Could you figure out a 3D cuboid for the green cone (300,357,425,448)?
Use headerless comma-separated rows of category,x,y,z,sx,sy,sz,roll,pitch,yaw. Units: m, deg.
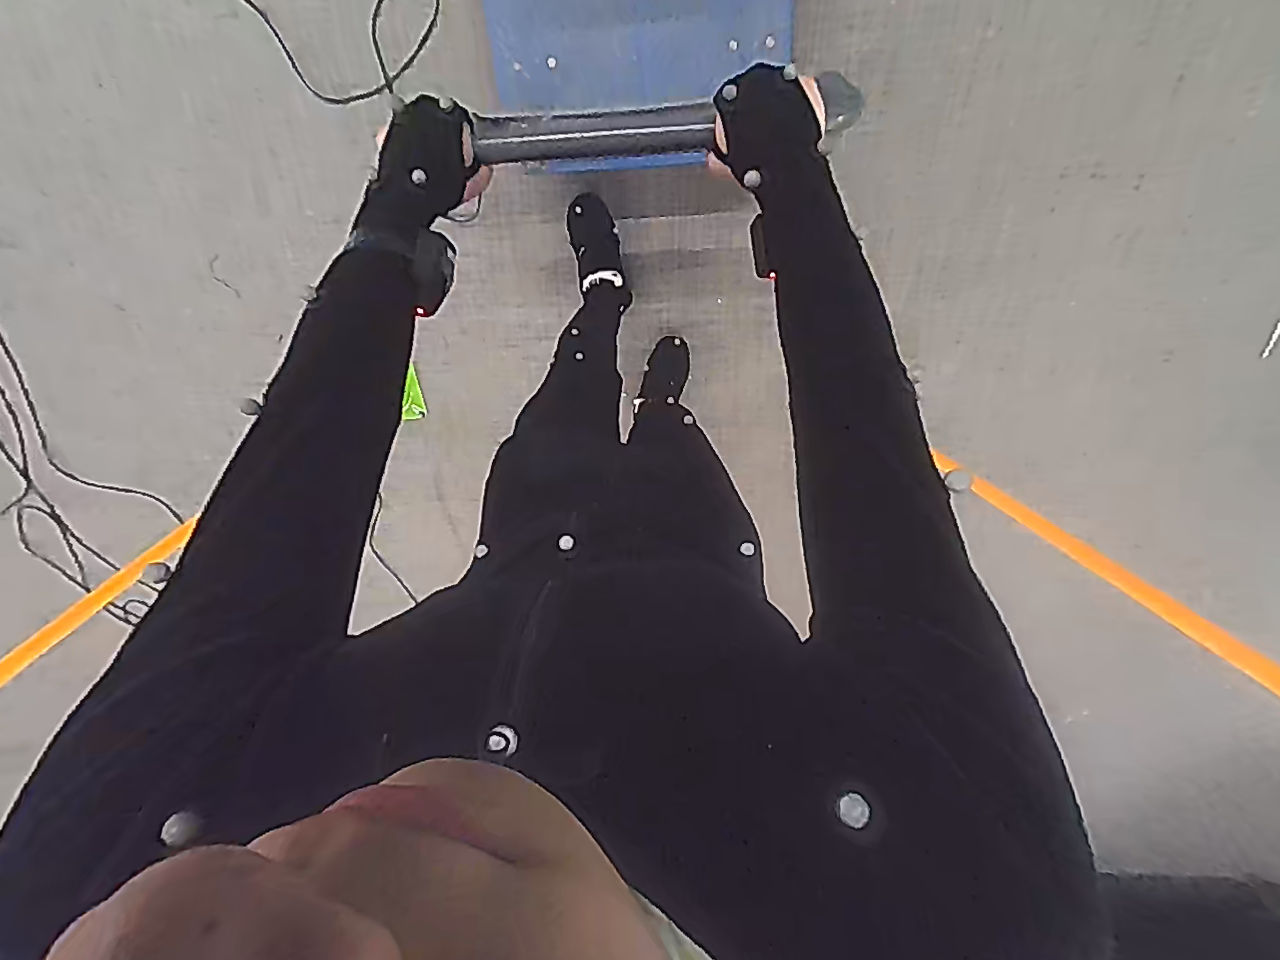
green cone,-0.749,-0.175,1.408,0.202,0.368,0.200,-4,116,7
